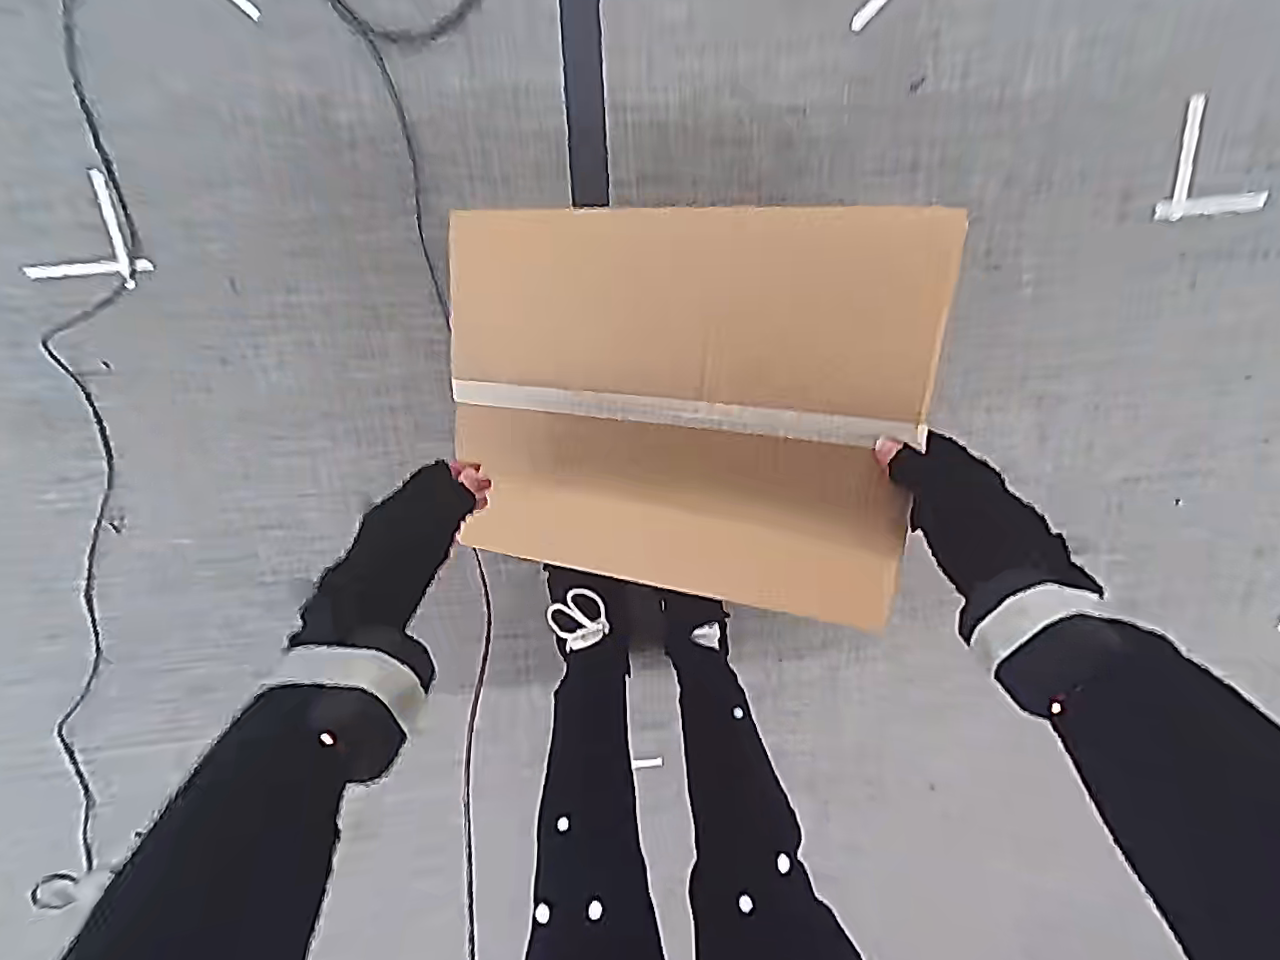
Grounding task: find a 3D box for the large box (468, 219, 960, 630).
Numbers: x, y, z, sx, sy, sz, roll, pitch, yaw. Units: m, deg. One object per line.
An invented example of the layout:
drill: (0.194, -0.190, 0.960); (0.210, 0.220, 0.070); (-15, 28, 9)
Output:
large box: (0.071, -0.080, 0.596); (0.408, 0.320, 0.320); (9, 105, 19)
